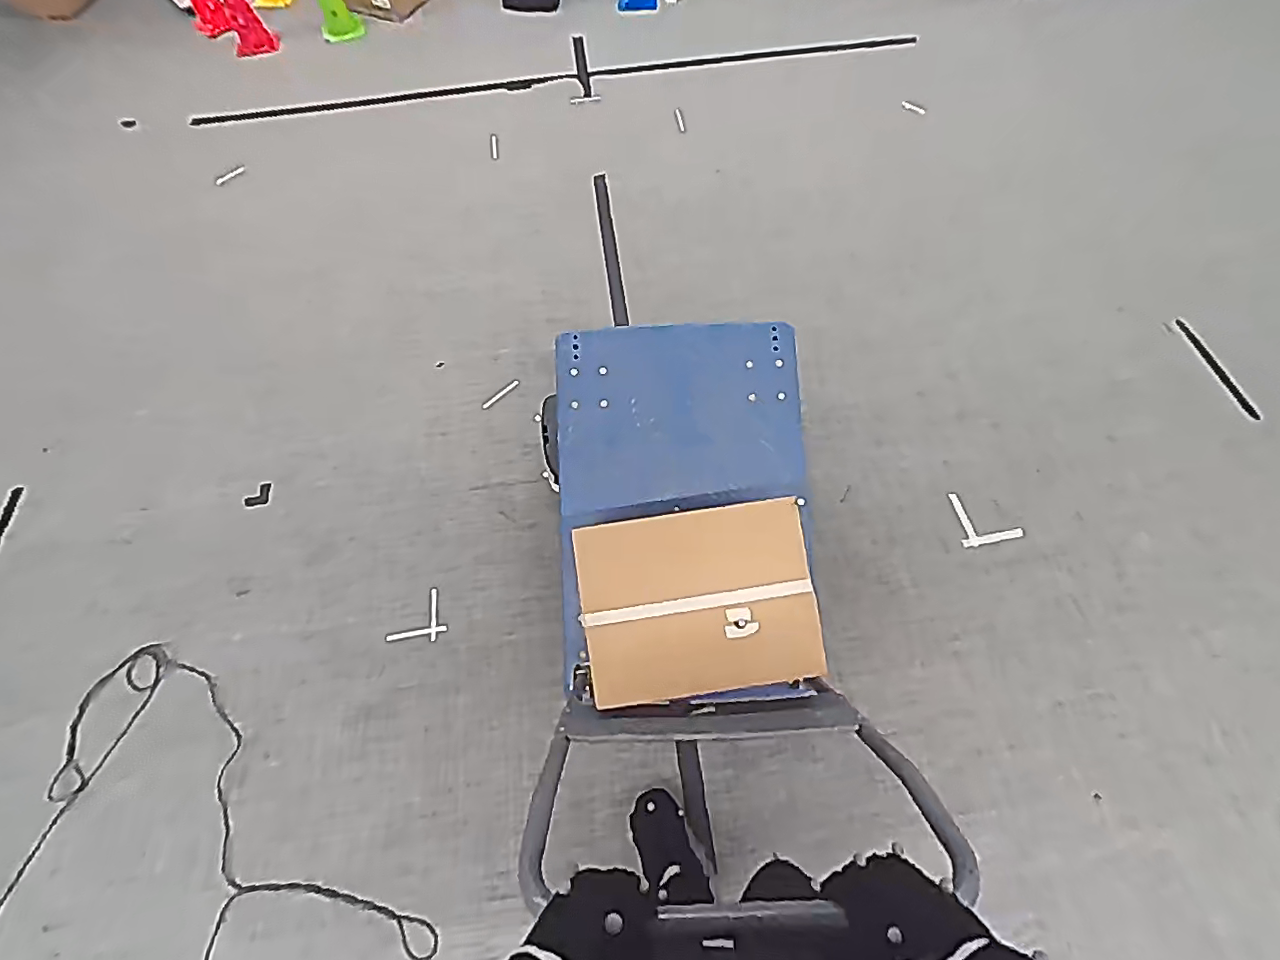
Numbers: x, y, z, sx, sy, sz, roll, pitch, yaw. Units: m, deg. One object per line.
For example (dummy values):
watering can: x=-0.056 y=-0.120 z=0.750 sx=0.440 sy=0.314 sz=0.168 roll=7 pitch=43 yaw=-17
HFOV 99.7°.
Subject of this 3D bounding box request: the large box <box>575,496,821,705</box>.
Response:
large box: x=0.099 y=0.228 z=1.110 sx=0.408 sy=0.320 sz=0.320 roll=-9 pitch=85 yaw=-2
